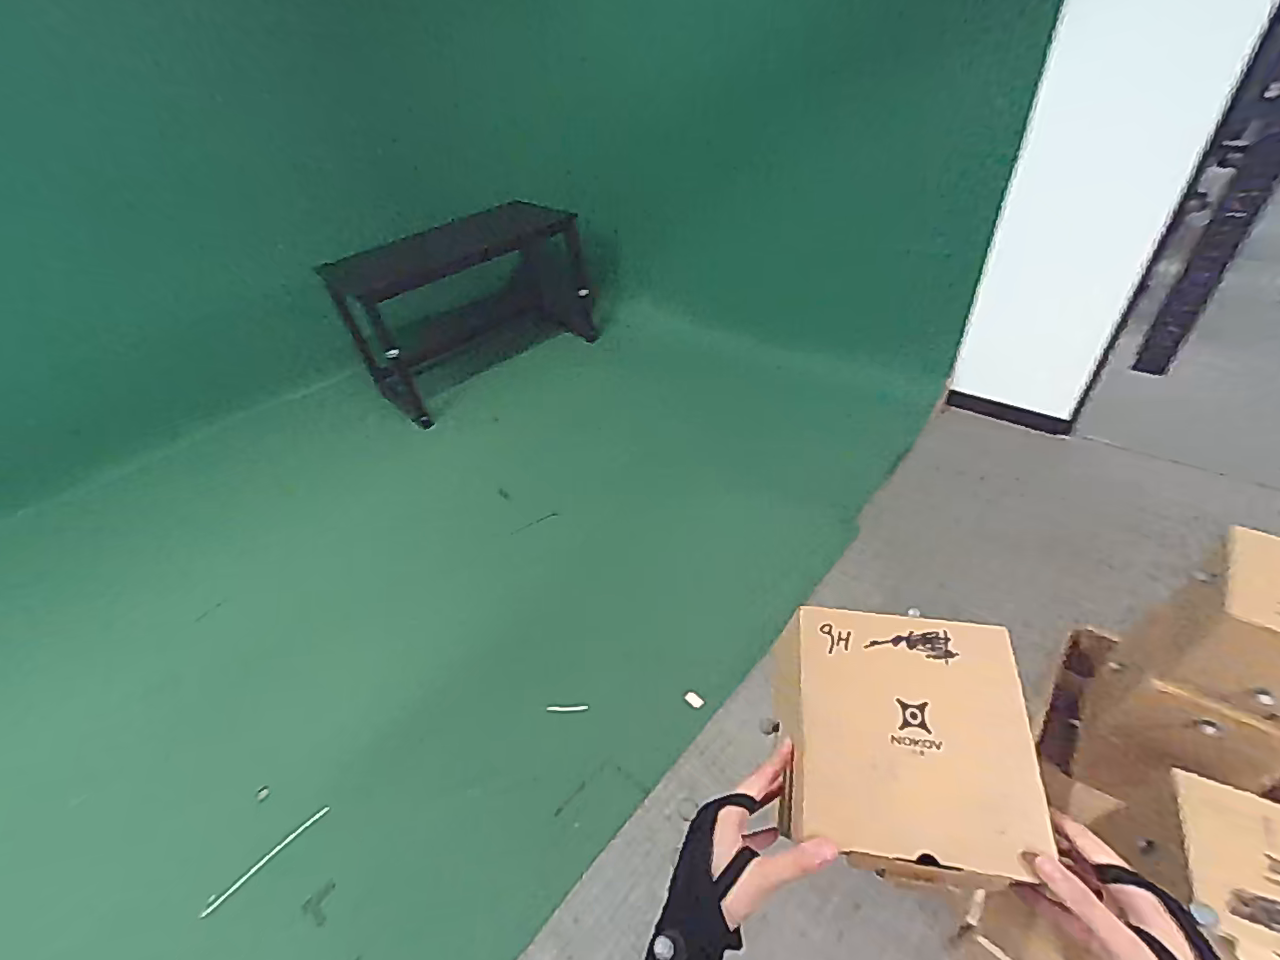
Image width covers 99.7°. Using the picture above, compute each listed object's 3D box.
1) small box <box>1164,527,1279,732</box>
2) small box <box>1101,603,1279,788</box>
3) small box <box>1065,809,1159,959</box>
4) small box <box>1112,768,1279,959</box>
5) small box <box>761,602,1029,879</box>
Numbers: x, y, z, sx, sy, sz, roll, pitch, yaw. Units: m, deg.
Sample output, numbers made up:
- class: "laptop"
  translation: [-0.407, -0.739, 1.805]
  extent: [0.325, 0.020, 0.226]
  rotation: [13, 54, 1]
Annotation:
- class: "small box"
  translation: [0.834, 0.200, 0.705]
  extent: [0.168, 0.176, 0.179]
  rotation: [23, 52, 33]
- class: "small box"
  translation: [0.843, 0.326, 0.811]
  extent: [0.179, 0.176, 0.168]
  rotation: [22, 50, 32]
- class: "small box"
  translation: [0.727, 0.615, 0.758]
  extent: [0.168, 0.176, 0.179]
  rotation: [16, 46, 25]
- class: "small box"
  translation: [0.708, 0.495, 0.648]
  extent: [0.168, 0.176, 0.179]
  rotation: [16, 46, 24]
- class: "small box"
  translation: [0.203, 0.224, 0.485]
  extent: [0.168, 0.176, 0.179]
  rotation: [5, 63, 7]
